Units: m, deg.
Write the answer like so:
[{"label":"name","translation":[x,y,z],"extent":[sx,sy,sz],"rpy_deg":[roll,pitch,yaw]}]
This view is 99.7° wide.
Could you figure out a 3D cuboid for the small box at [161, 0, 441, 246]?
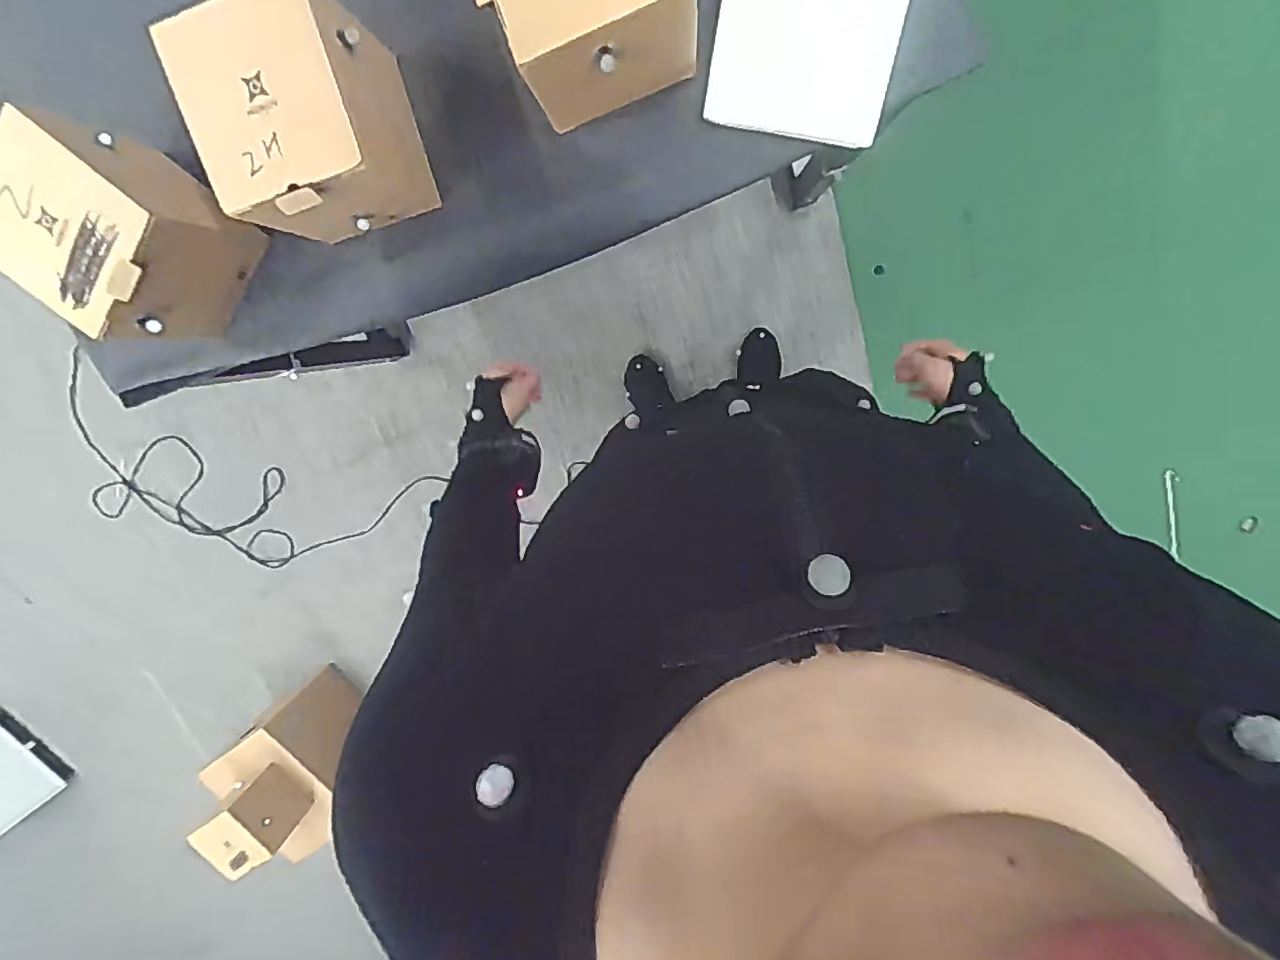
[{"label":"small box","translation":[-0.356,-0.385,0.604],"extent":[0.168,0.176,0.179],"rpy_deg":[-14,103,10]}]

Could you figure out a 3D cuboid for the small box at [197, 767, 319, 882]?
[{"label":"small box","translation":[-1.038,0.940,1.487],"extent":[0.168,0.176,0.179],"rpy_deg":[-35,99,12]}]

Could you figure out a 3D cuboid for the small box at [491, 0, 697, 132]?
[{"label":"small box","translation":[-0.049,-0.493,0.542],"extent":[0.179,0.176,0.168],"rpy_deg":[-17,102,12]}]
